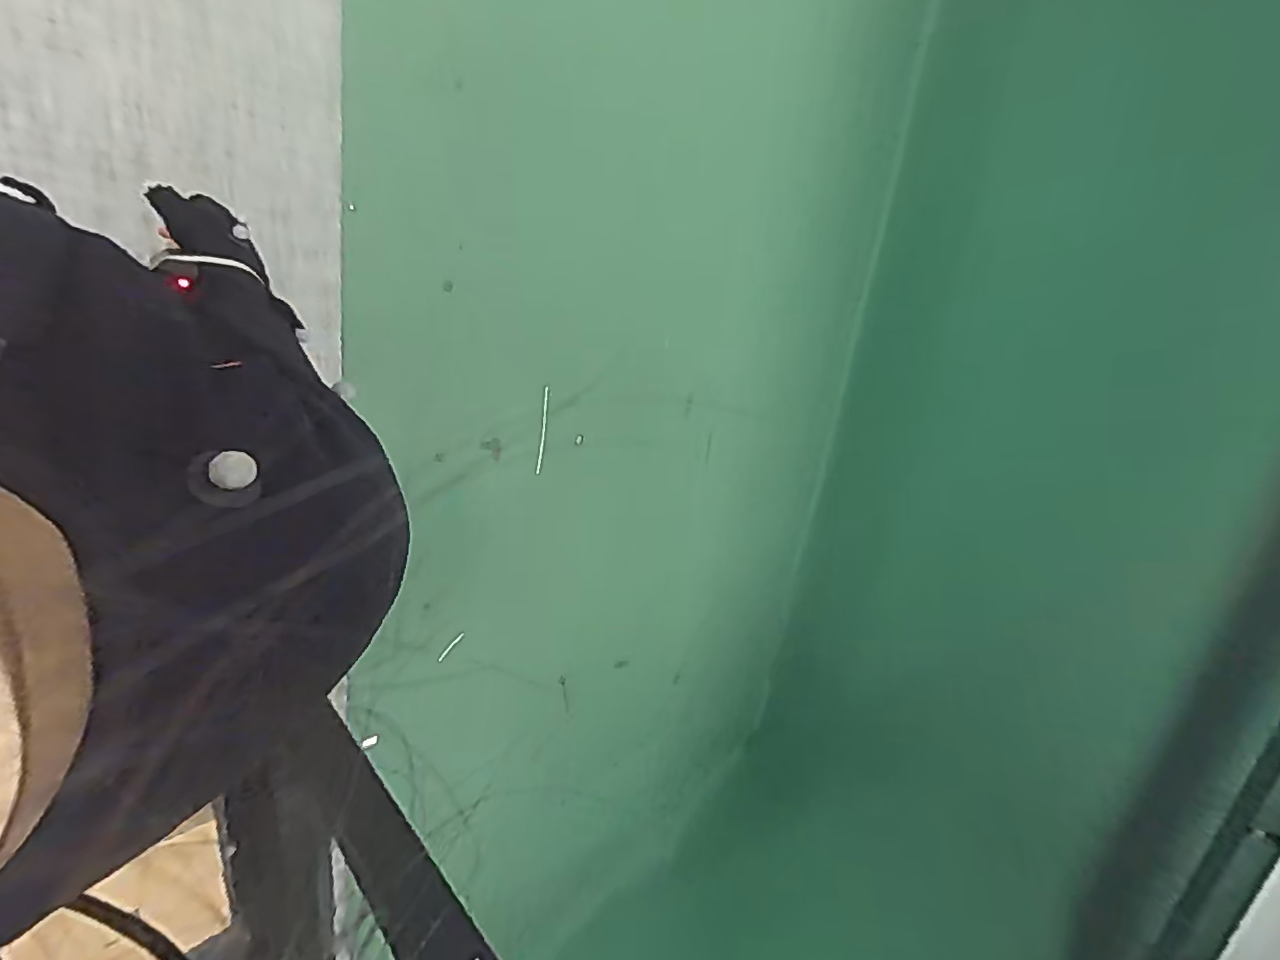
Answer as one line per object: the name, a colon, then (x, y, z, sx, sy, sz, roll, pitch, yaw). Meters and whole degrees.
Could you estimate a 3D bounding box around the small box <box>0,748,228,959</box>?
small box: (-0.599, 0.443, 0.618, 0.168, 0.176, 0.179, -12, 116, -46)
